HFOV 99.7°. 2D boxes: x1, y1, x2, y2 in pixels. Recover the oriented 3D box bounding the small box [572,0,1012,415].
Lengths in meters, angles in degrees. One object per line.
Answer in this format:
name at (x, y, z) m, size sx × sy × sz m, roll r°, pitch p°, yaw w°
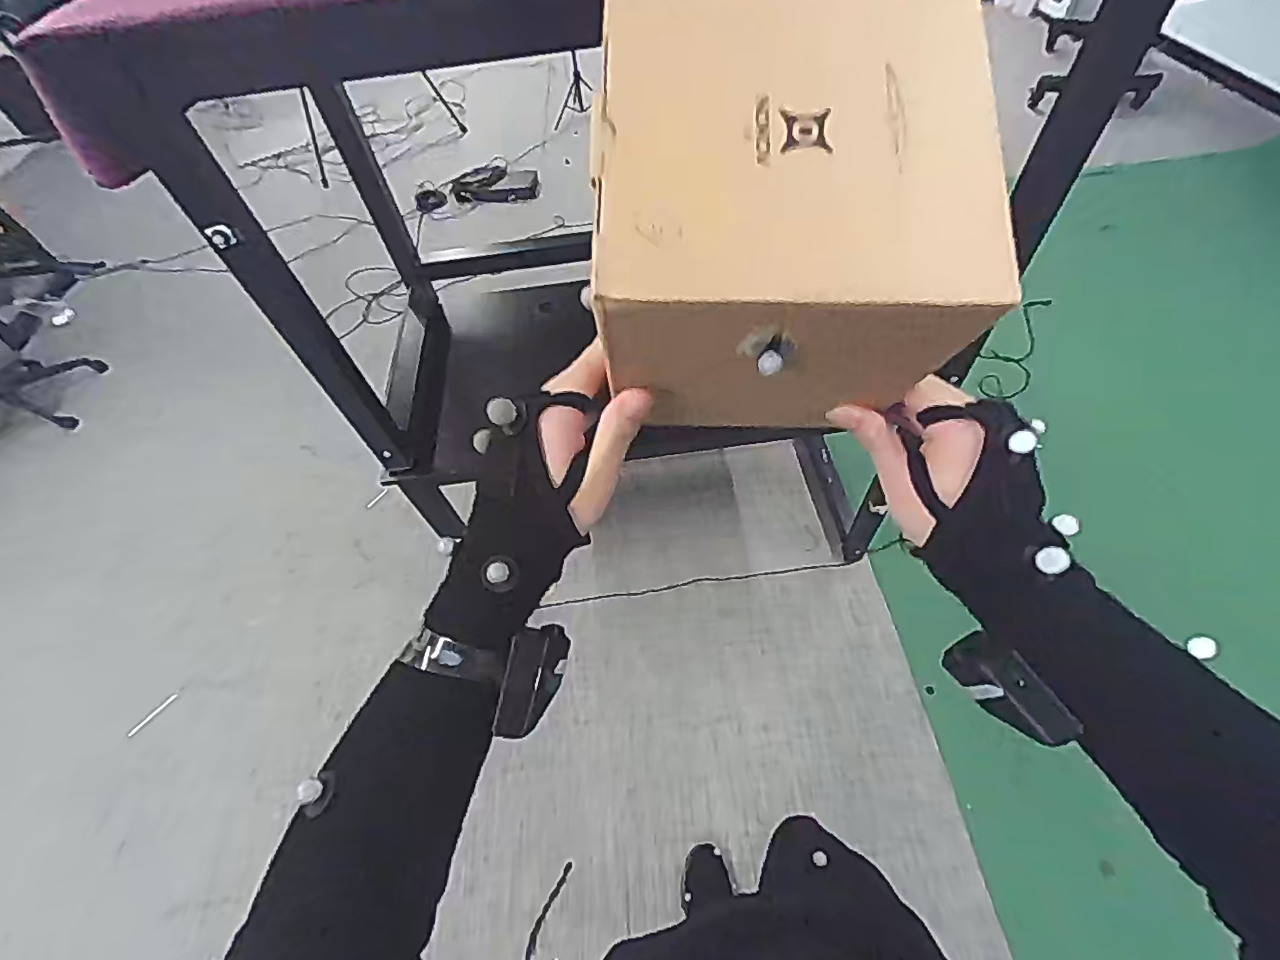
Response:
small box at (0.065, -0.141, 0.310) m, size 0.179 × 0.176 × 0.168 m, roll 1°, pitch 78°, yaw 2°
